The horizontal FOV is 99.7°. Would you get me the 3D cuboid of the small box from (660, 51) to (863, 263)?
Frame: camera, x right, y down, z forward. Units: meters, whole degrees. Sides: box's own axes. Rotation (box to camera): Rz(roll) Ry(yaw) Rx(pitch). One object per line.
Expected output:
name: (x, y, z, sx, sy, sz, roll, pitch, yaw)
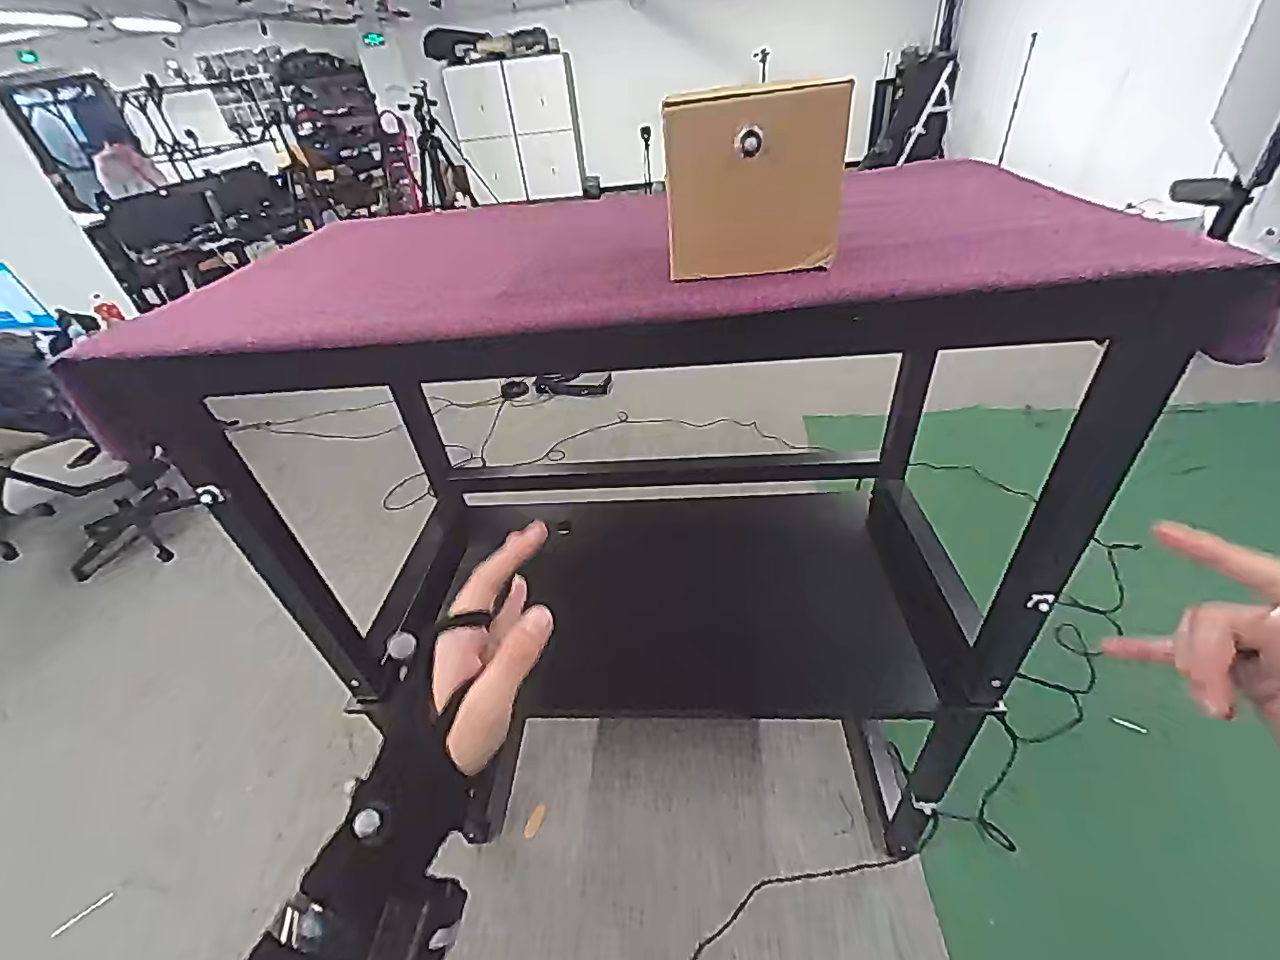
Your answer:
small box: (0.118, -0.339, 0.575, 0.179, 0.176, 0.168, 0, 38, 7)
